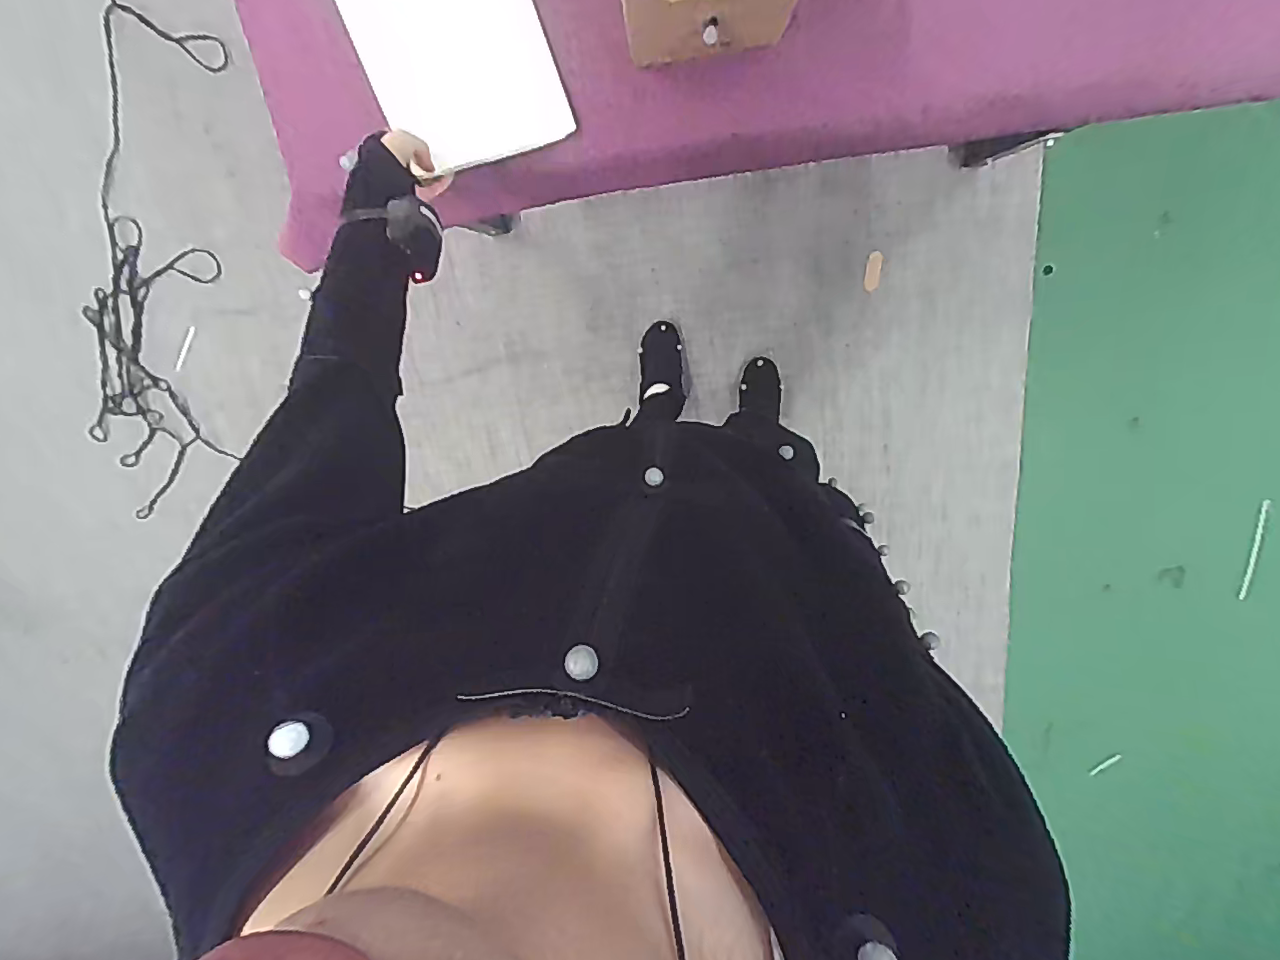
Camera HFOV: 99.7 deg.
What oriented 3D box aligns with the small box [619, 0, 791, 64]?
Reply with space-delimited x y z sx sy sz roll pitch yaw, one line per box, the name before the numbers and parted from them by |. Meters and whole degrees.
small box | 0.058 -0.523 0.505 0.168 0.176 0.179 -6 109 4
